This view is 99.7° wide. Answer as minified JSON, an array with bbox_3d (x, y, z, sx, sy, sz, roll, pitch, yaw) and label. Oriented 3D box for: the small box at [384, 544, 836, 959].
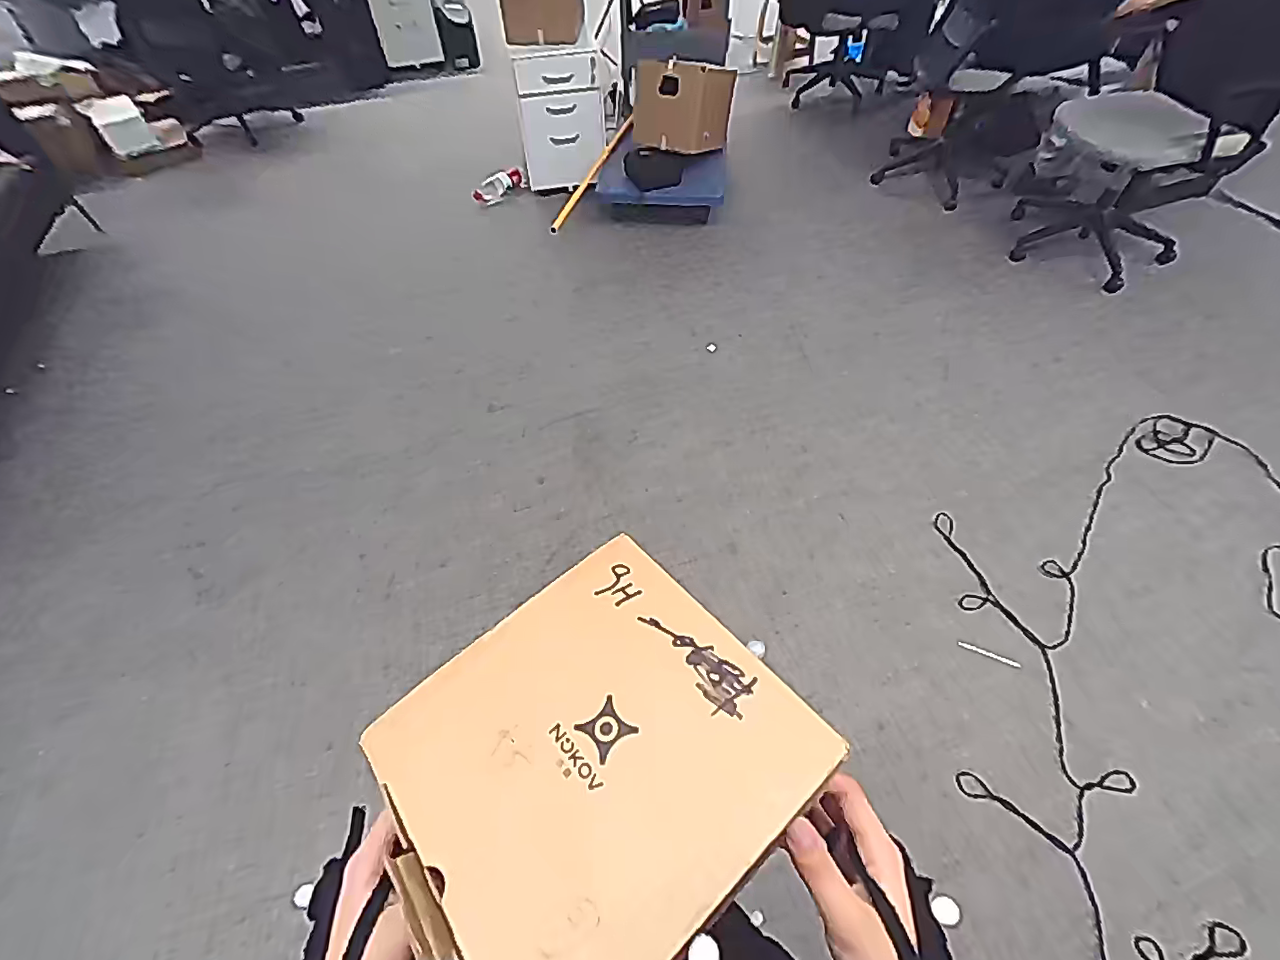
[{"bbox_3d":[-0.010,0.181,0.330,0.179,0.176,0.168,-37,55,-21],"label":"small box"}]
